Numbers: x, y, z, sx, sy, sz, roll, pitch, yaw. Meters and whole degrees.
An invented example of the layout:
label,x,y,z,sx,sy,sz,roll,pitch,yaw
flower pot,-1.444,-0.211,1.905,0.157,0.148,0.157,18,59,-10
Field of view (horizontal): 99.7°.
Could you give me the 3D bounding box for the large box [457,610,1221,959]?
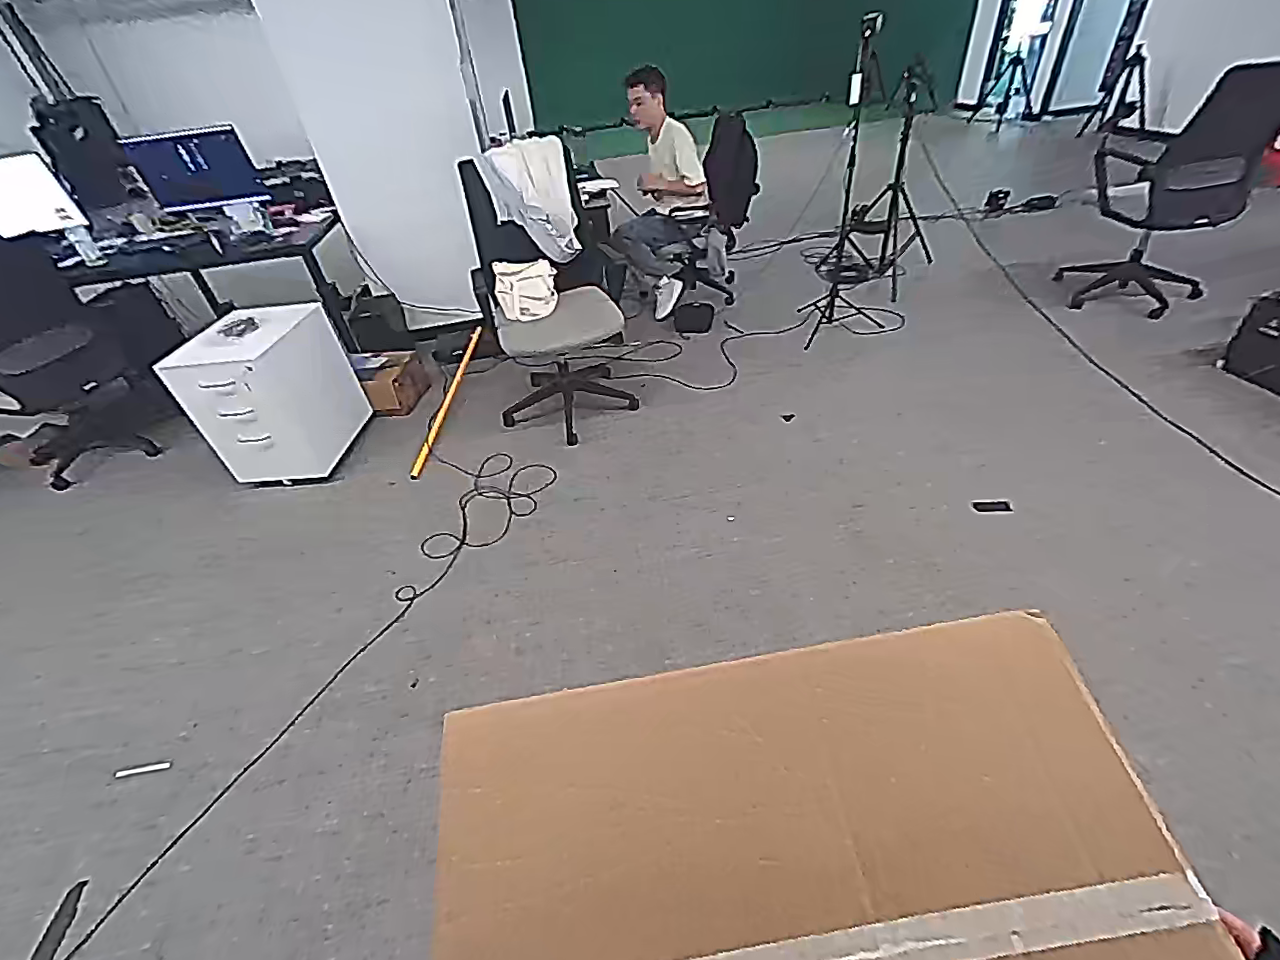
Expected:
label,x,y,z,sx,sy,sz,roll,pitch,yaw
large box,0.108,0.332,0.418,0.408,0.320,0.320,-10,58,1
